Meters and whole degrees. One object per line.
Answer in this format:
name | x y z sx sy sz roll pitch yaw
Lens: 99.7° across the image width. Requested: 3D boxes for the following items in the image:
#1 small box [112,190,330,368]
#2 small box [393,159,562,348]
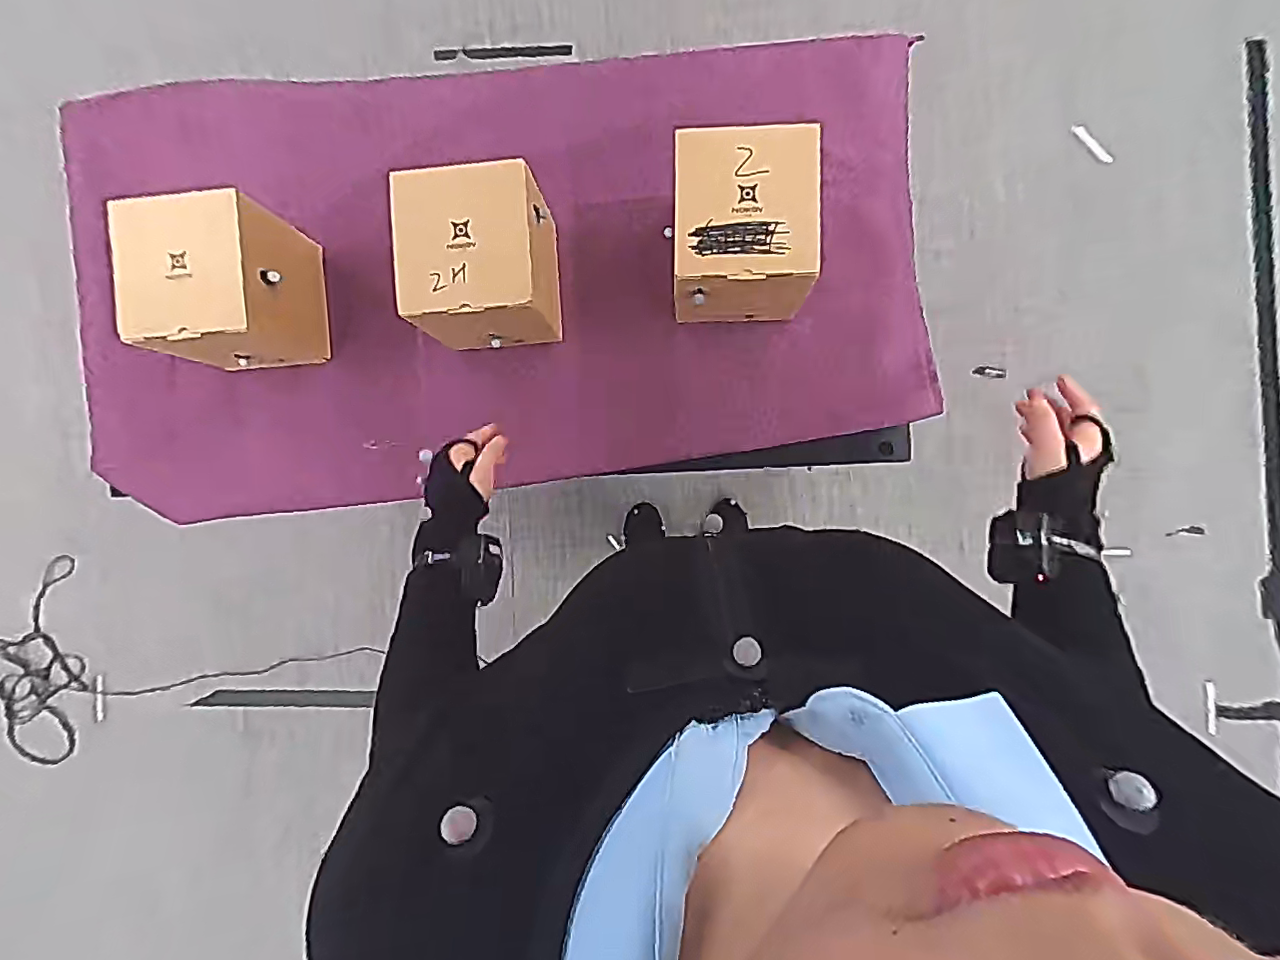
small box | -0.555 -0.261 0.739 0.168 0.176 0.179 -5 91 3
small box | -0.203 -0.286 0.716 0.168 0.176 0.179 -4 90 4
